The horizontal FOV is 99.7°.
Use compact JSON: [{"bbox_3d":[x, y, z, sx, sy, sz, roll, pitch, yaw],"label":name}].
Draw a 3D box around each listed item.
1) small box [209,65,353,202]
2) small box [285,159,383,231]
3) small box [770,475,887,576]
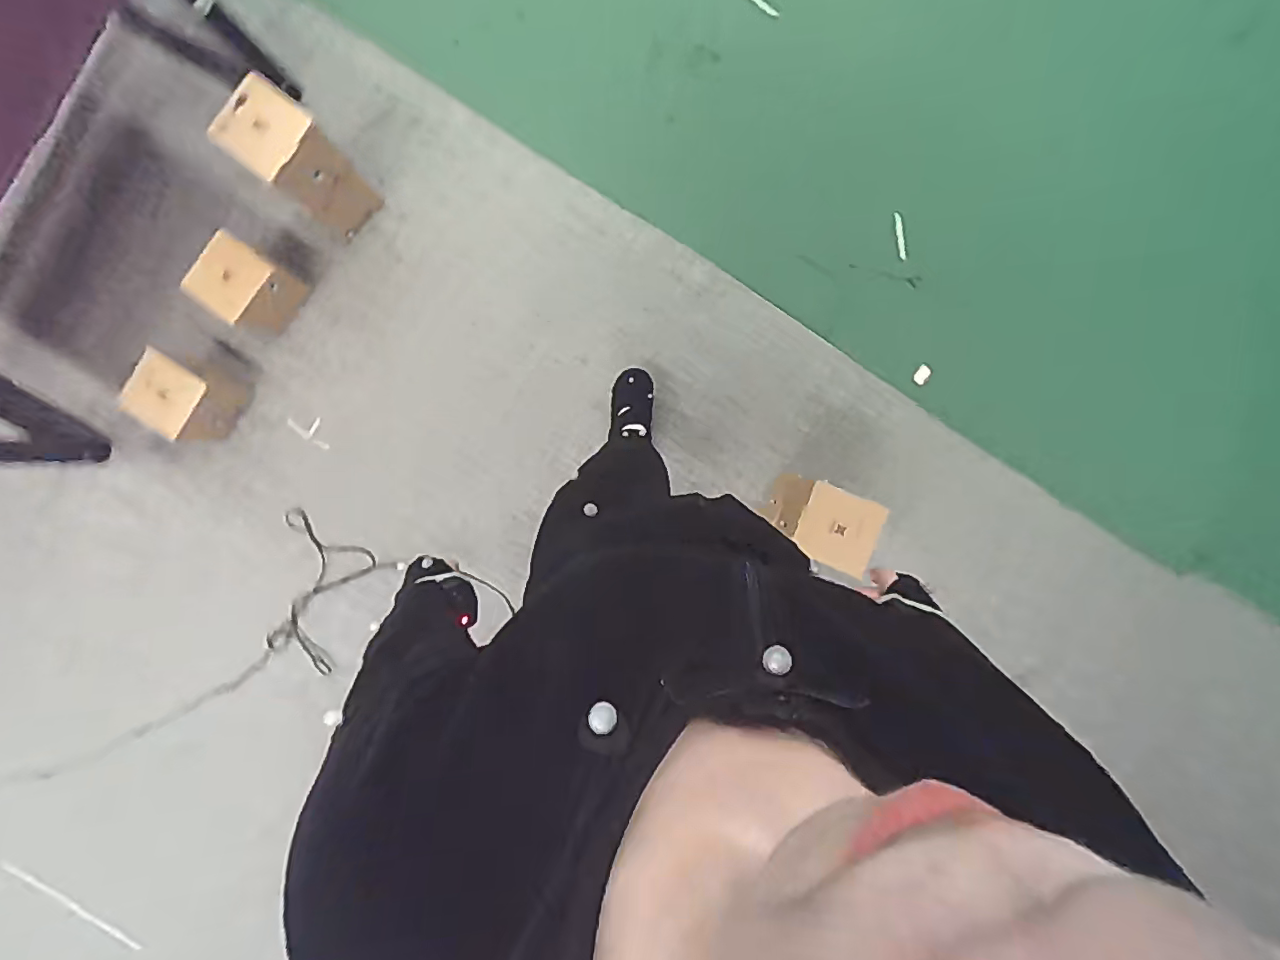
[{"bbox_3d":[-0.803,-0.770,1.231,0.179,0.176,0.168,39,92,-2],"label":"small box"},{"bbox_3d":[-0.809,-0.777,1.396,0.179,0.176,0.168,43,92,0],"label":"small box"},{"bbox_3d":[0.419,0.097,1.240,0.179,0.176,0.168,24,93,-1],"label":"small box"}]
